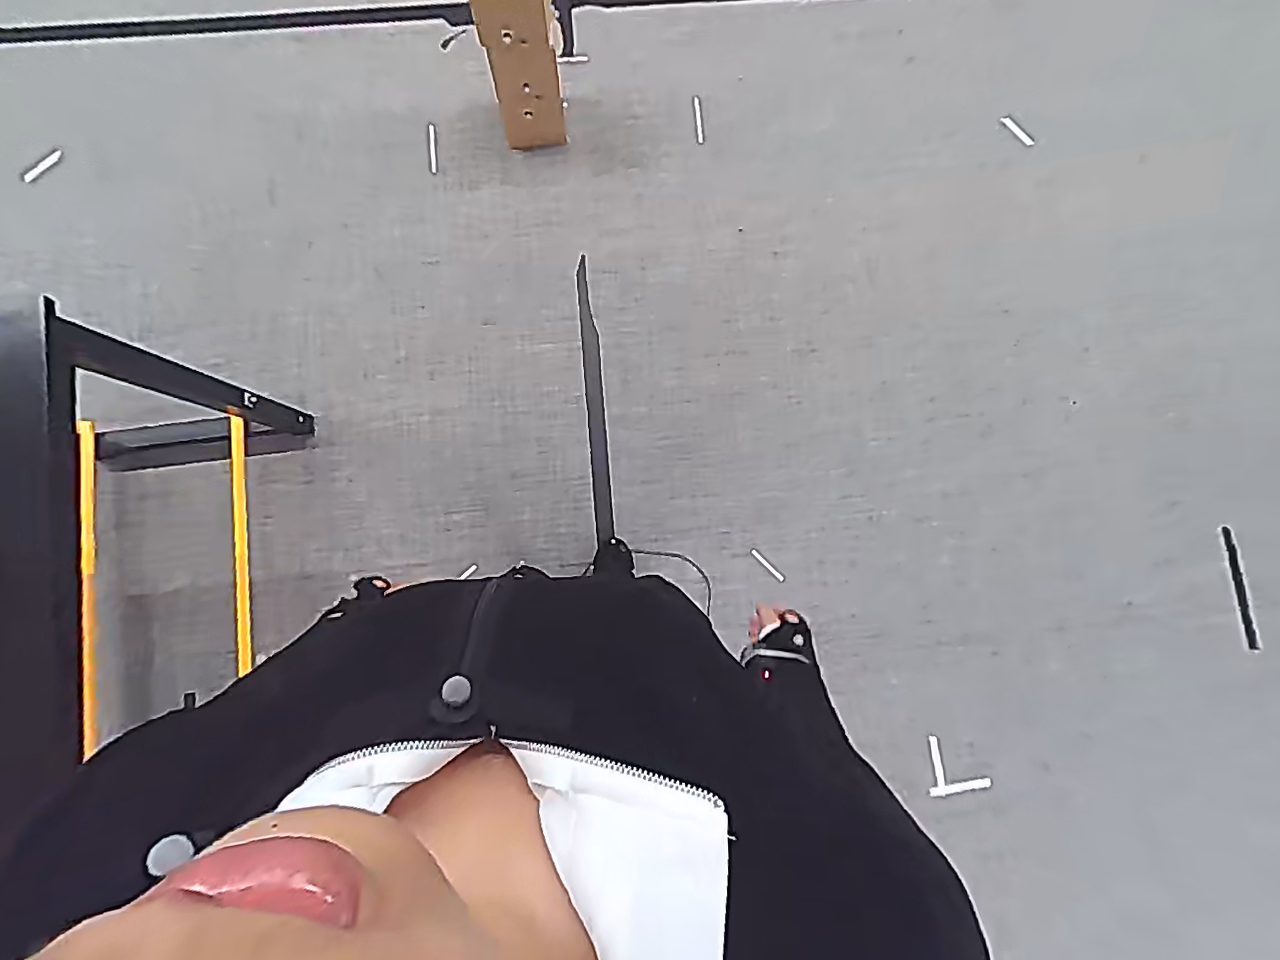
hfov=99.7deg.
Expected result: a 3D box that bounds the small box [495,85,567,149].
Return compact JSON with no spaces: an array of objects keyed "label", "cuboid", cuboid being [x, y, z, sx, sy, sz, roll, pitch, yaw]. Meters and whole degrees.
[{"label":"small box","cuboid":[-0.310,-1.075,1.535,0.179,0.176,0.168,-9,85,-5]}]

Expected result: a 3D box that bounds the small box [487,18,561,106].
[{"label":"small box","cuboid":[-0.295,-1.094,1.372,0.168,0.176,0.179,-6,85,-4]}]

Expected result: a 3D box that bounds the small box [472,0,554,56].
[{"label":"small box","cuboid":[-0.286,-1.104,1.209,0.168,0.176,0.179,0,85,-3]}]
